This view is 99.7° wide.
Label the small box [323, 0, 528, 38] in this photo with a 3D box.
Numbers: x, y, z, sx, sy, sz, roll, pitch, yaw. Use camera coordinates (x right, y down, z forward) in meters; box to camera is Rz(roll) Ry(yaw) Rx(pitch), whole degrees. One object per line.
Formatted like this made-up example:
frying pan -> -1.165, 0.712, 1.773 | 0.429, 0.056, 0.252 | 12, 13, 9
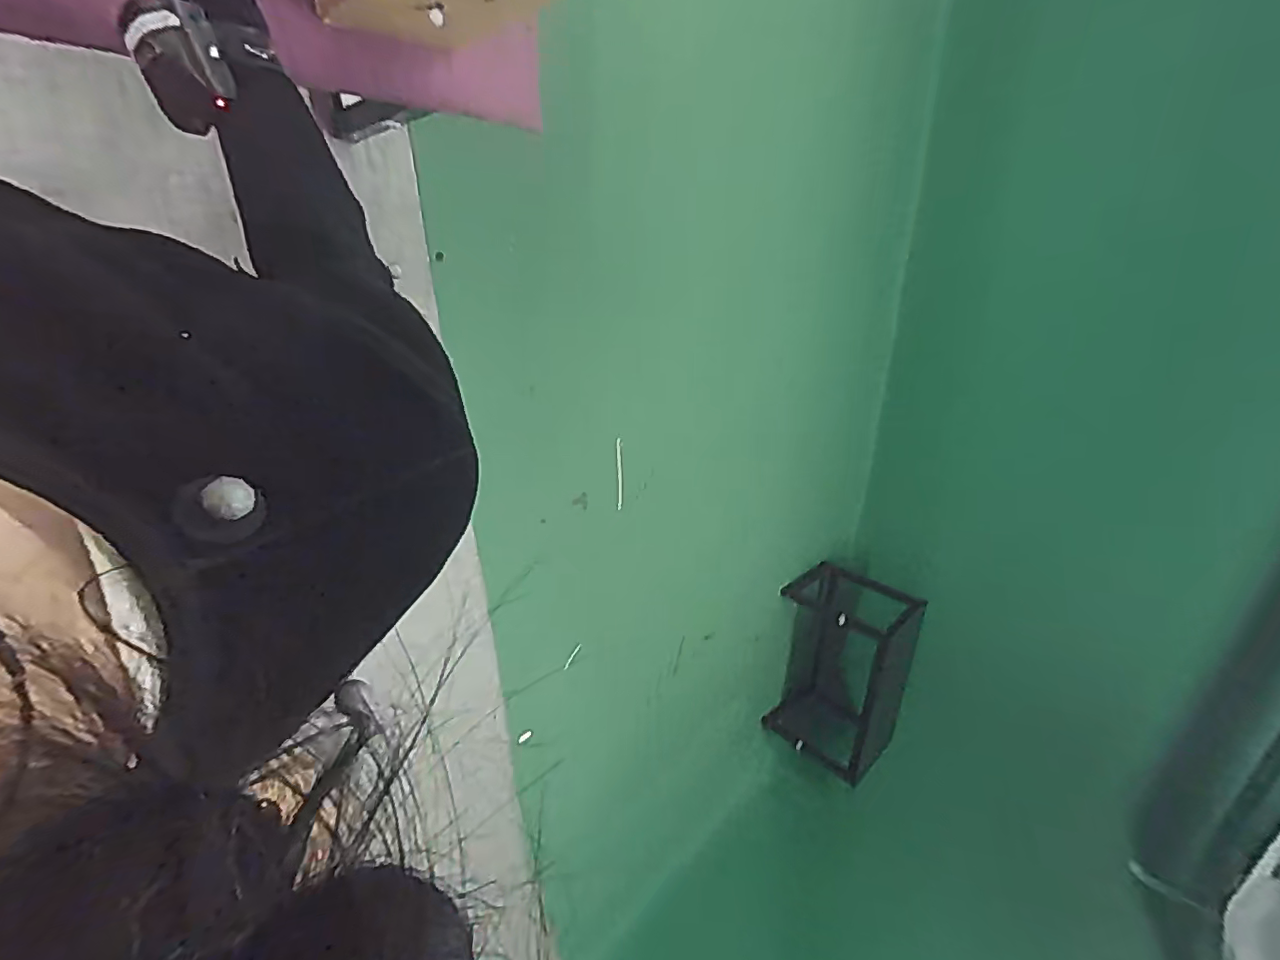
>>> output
small box -> -0.242, -0.602, 0.577 | 0.179, 0.176, 0.168 | -22, 123, -36
